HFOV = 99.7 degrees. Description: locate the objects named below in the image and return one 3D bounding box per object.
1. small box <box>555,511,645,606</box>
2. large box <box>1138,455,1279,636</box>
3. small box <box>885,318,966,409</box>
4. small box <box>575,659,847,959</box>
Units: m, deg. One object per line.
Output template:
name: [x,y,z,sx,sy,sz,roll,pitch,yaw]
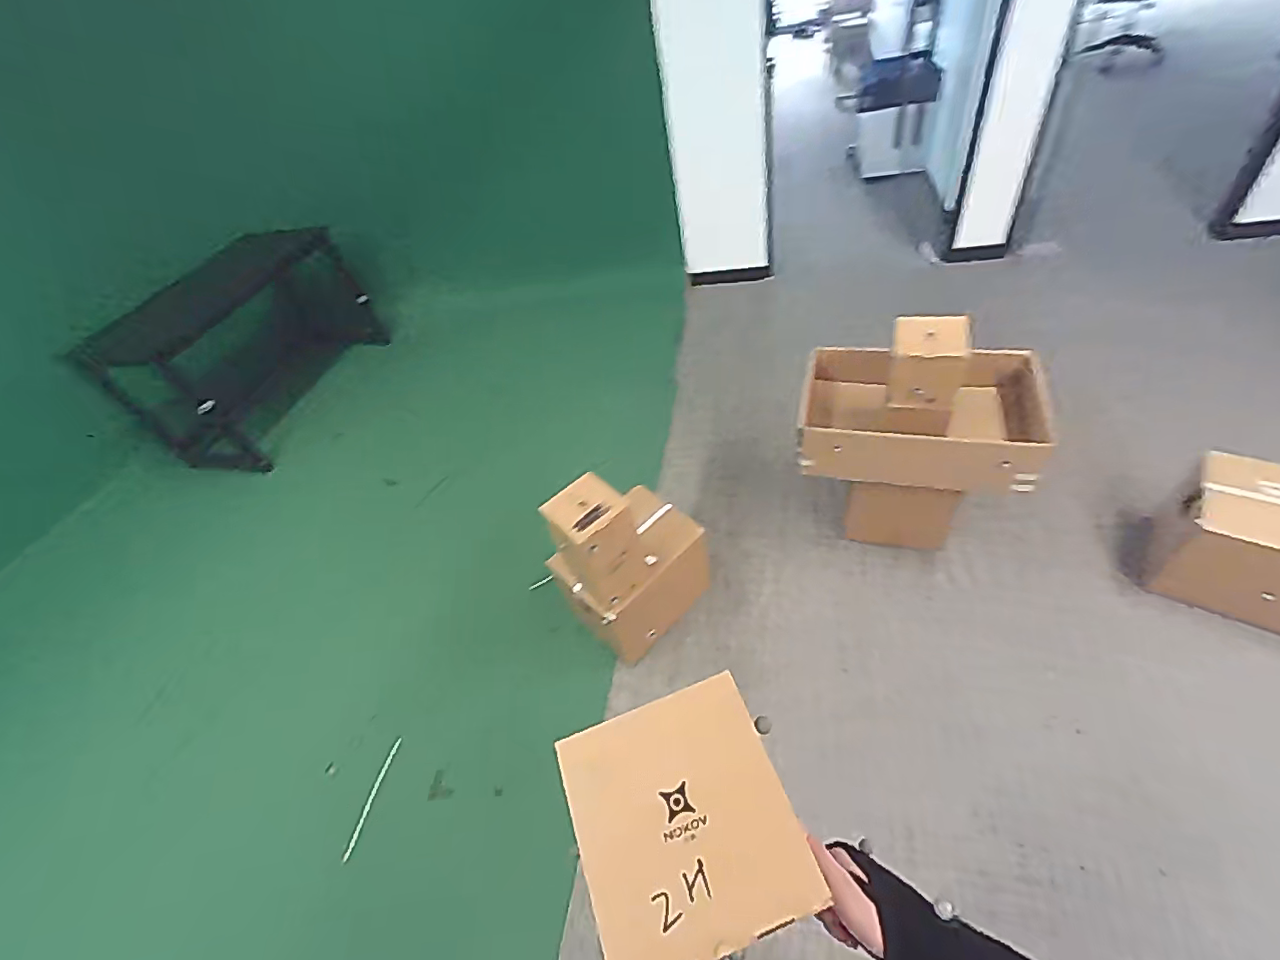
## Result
small box: [-0.106,0.227,1.520,0.168,0.176,0.179,-37,50,-21]
large box: [1.682,0.186,1.464,0.408,0.320,0.320,20,55,30]
small box: [0.758,-0.314,1.449,0.168,0.176,0.179,6,50,20]
small box: [0.056,0.293,0.485,0.168,0.176,0.179,-21,54,-3]
